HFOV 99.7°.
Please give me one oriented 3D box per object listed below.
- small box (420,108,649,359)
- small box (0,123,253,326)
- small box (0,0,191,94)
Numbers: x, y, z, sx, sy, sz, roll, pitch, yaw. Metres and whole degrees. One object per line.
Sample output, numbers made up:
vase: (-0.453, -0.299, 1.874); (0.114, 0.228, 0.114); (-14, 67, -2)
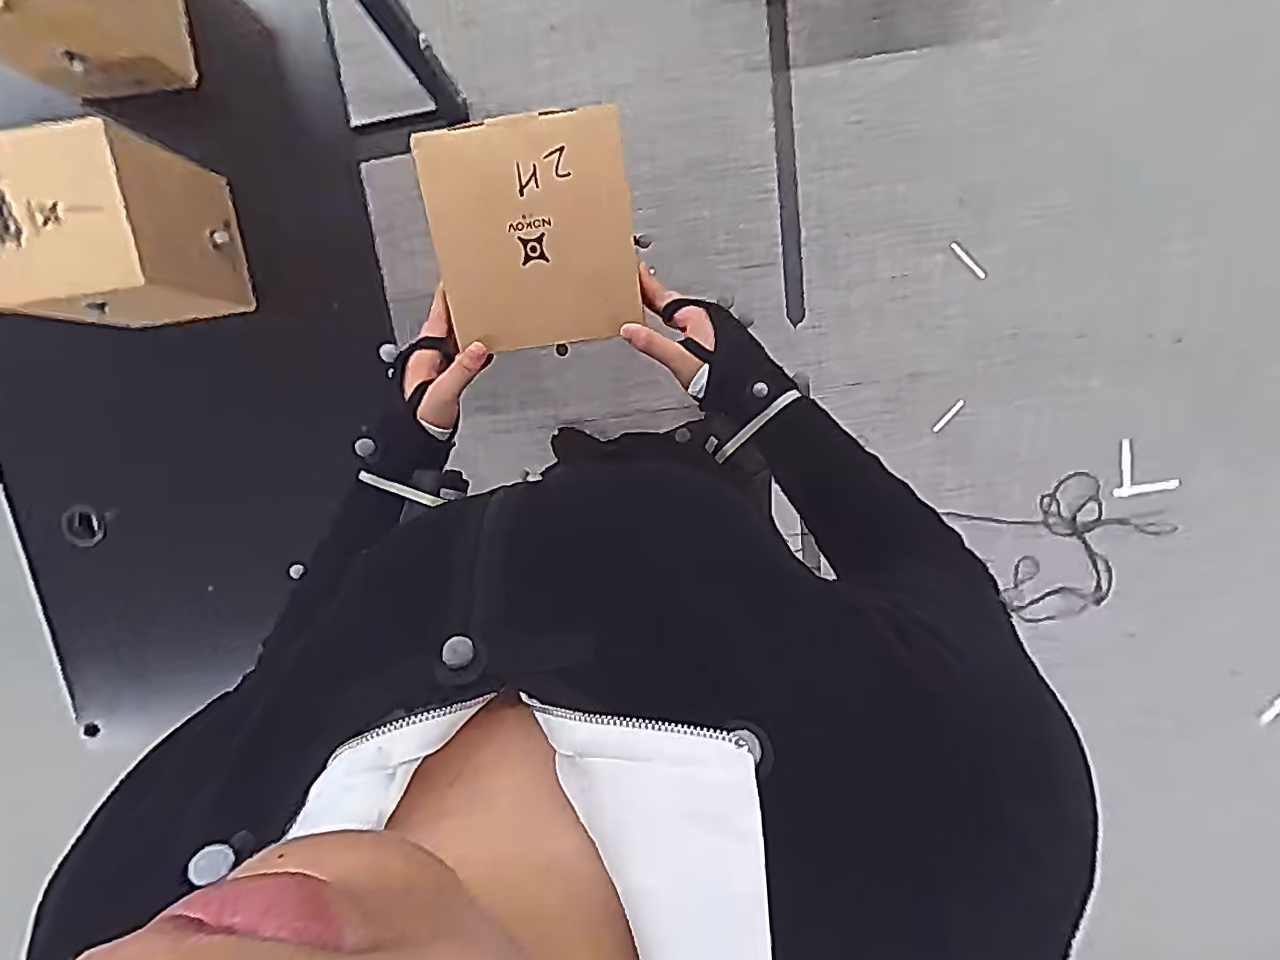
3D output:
small box: (-0.081, -0.221, 0.521); (0.168, 0.176, 0.179); (-7, 107, 3)
small box: (-0.614, -0.283, 0.639); (0.179, 0.176, 0.168); (-7, 99, 2)
small box: (-0.649, -0.559, 0.595); (0.168, 0.176, 0.179); (-5, 100, 2)
